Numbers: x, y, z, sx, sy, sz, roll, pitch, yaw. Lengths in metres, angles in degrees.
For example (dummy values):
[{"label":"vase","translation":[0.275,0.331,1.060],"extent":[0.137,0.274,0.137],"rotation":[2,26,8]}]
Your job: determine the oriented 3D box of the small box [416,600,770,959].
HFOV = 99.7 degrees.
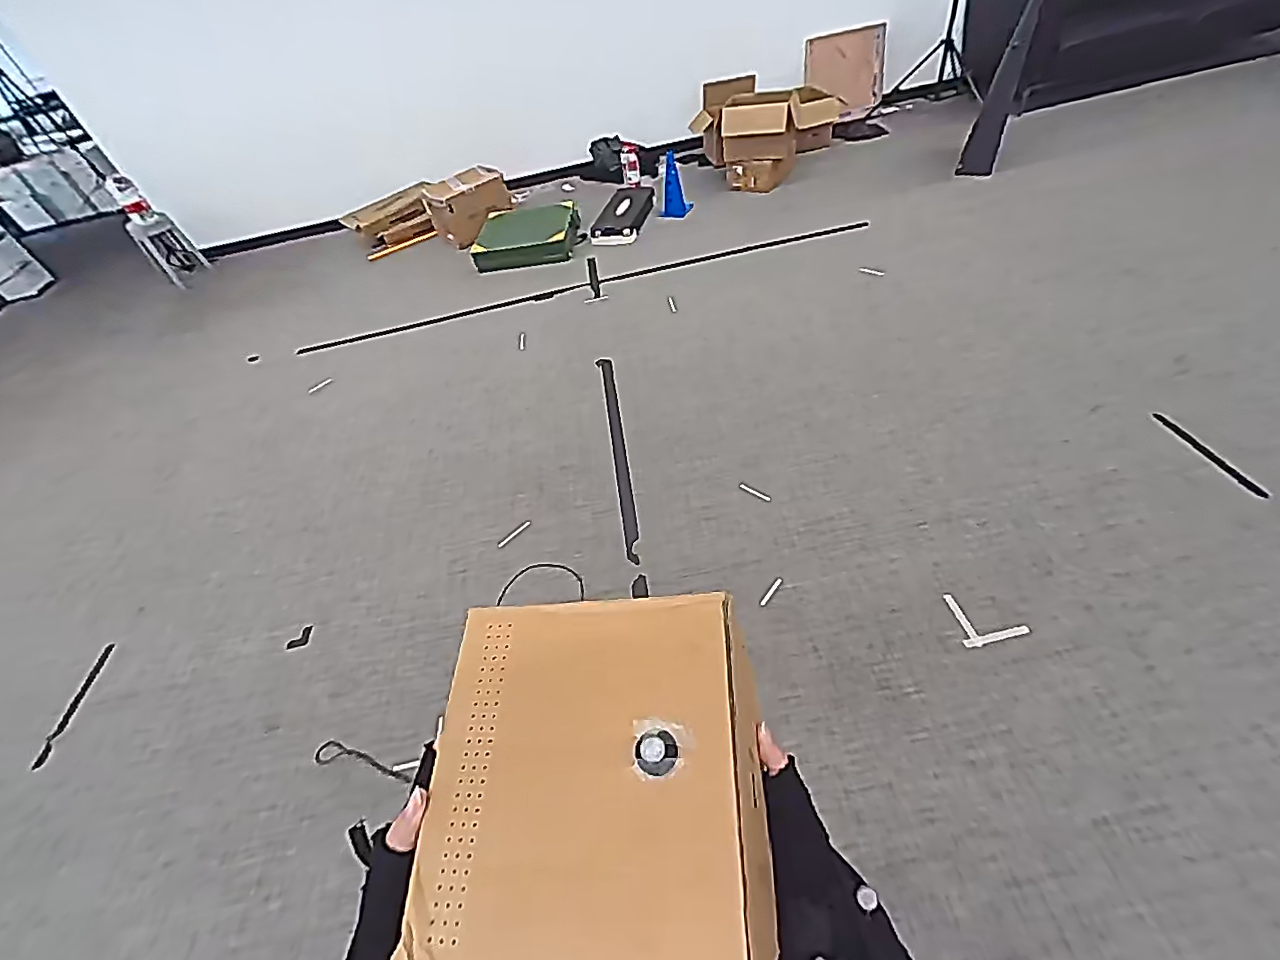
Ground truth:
[{"label":"small box","translation":[-0.014,0.195,0.349],"extent":[0.176,0.168,0.179],"rotation":[-7,54,14]}]
